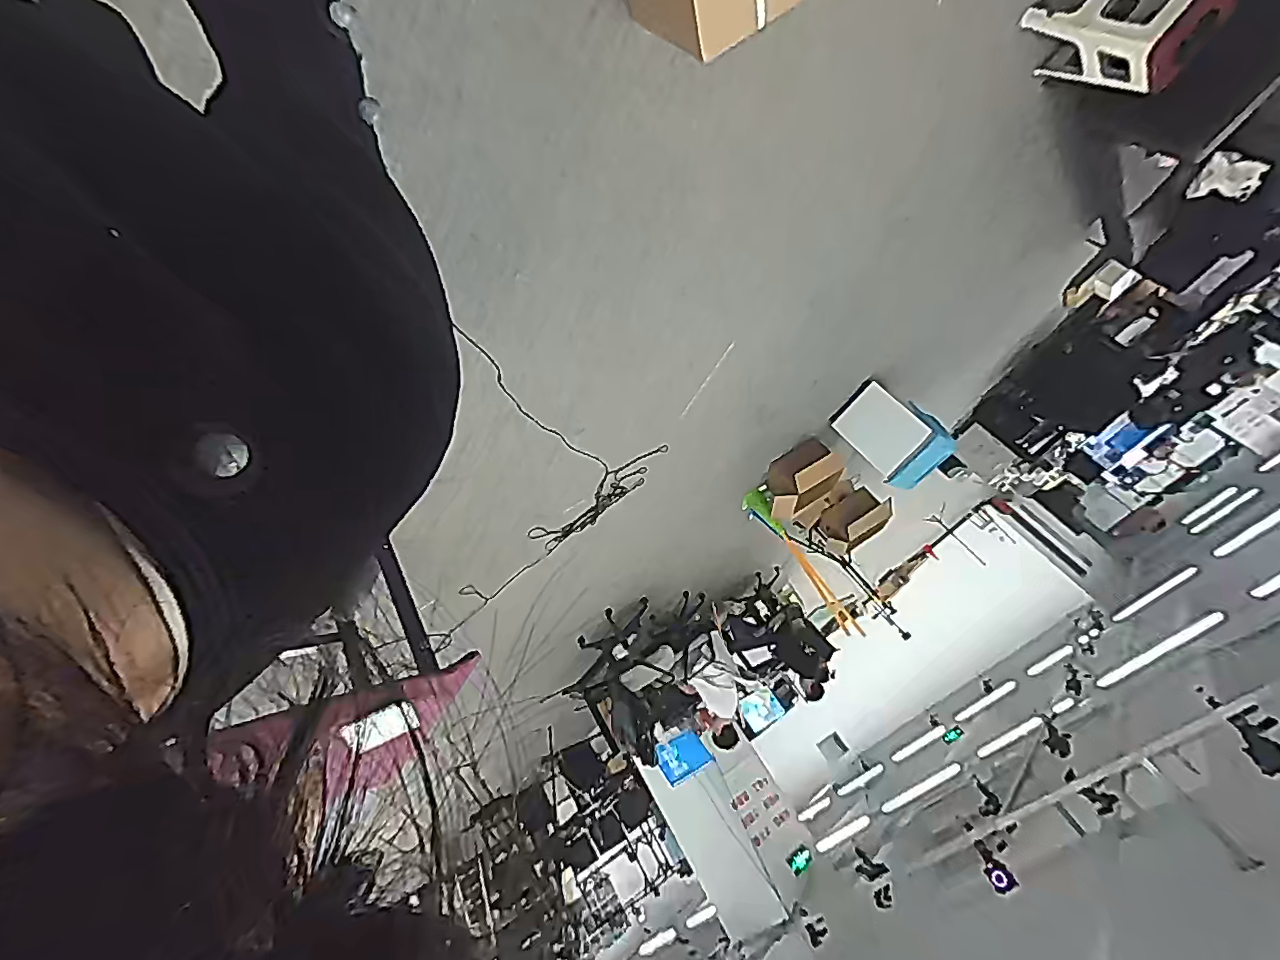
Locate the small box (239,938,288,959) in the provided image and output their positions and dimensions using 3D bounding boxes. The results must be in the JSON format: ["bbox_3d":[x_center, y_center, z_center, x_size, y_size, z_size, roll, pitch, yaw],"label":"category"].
[{"bbox_3d":[-1.002,1.320,1.363,0.179,0.176,0.168,3,132,-48],"label":"small box"}]
